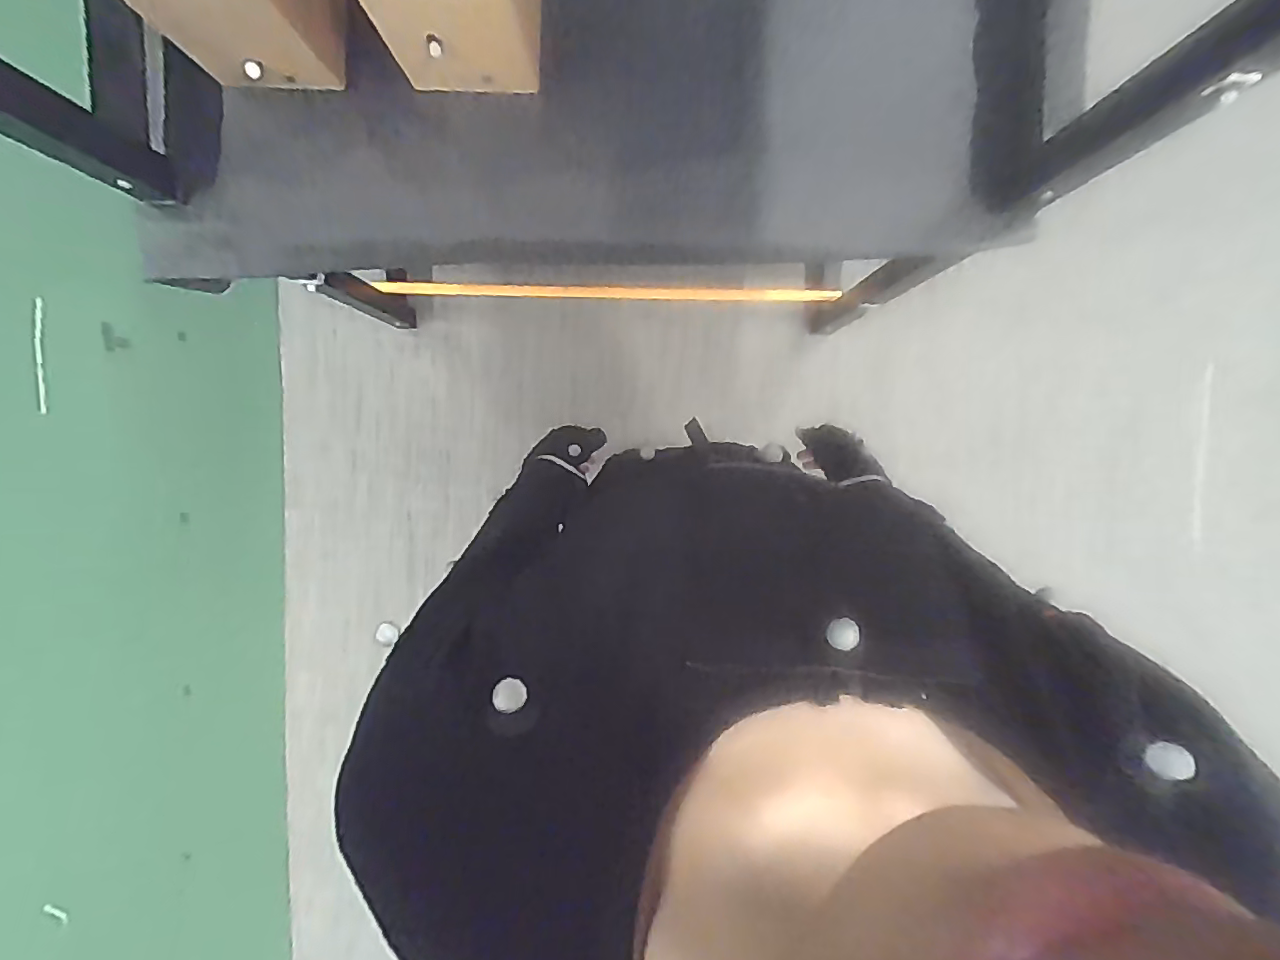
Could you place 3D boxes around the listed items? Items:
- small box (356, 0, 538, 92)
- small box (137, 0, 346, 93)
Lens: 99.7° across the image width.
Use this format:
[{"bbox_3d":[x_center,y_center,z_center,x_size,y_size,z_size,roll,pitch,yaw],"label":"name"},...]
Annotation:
[{"bbox_3d":[-0.216,-0.595,0.635,0.168,0.176,0.179,2,94,0],"label":"small box"},{"bbox_3d":[-0.469,-0.600,0.632,0.168,0.176,0.179,2,95,0],"label":"small box"}]
